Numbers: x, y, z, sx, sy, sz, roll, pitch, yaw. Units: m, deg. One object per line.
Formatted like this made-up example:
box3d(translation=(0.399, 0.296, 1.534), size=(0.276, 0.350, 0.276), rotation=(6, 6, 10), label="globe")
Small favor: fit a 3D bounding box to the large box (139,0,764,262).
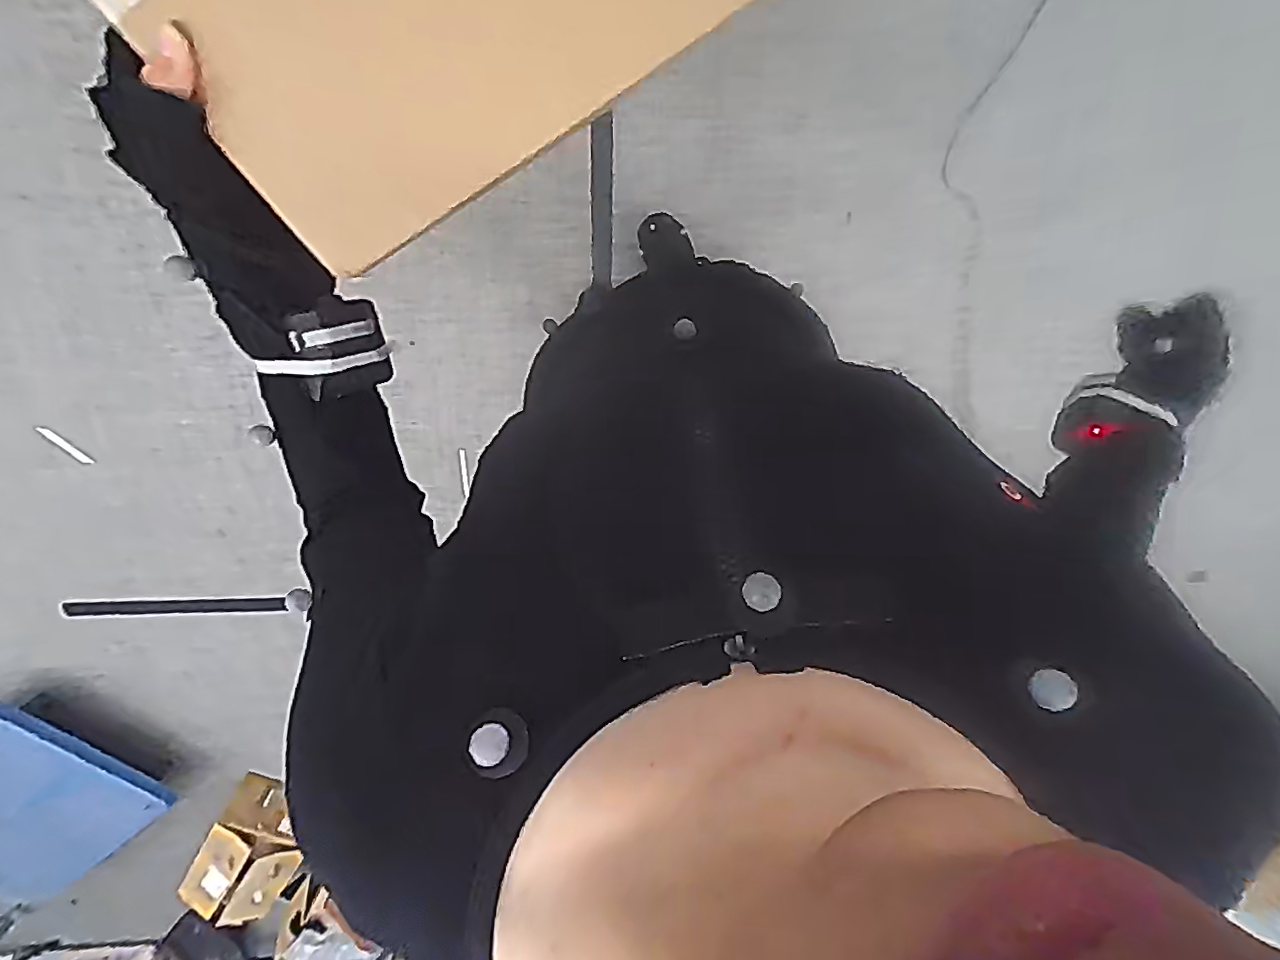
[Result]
box3d(translation=(-0.105, -0.415, 0.368), size=(0.408, 0.320, 0.320), rotation=(-28, 121, 10), label="large box")
